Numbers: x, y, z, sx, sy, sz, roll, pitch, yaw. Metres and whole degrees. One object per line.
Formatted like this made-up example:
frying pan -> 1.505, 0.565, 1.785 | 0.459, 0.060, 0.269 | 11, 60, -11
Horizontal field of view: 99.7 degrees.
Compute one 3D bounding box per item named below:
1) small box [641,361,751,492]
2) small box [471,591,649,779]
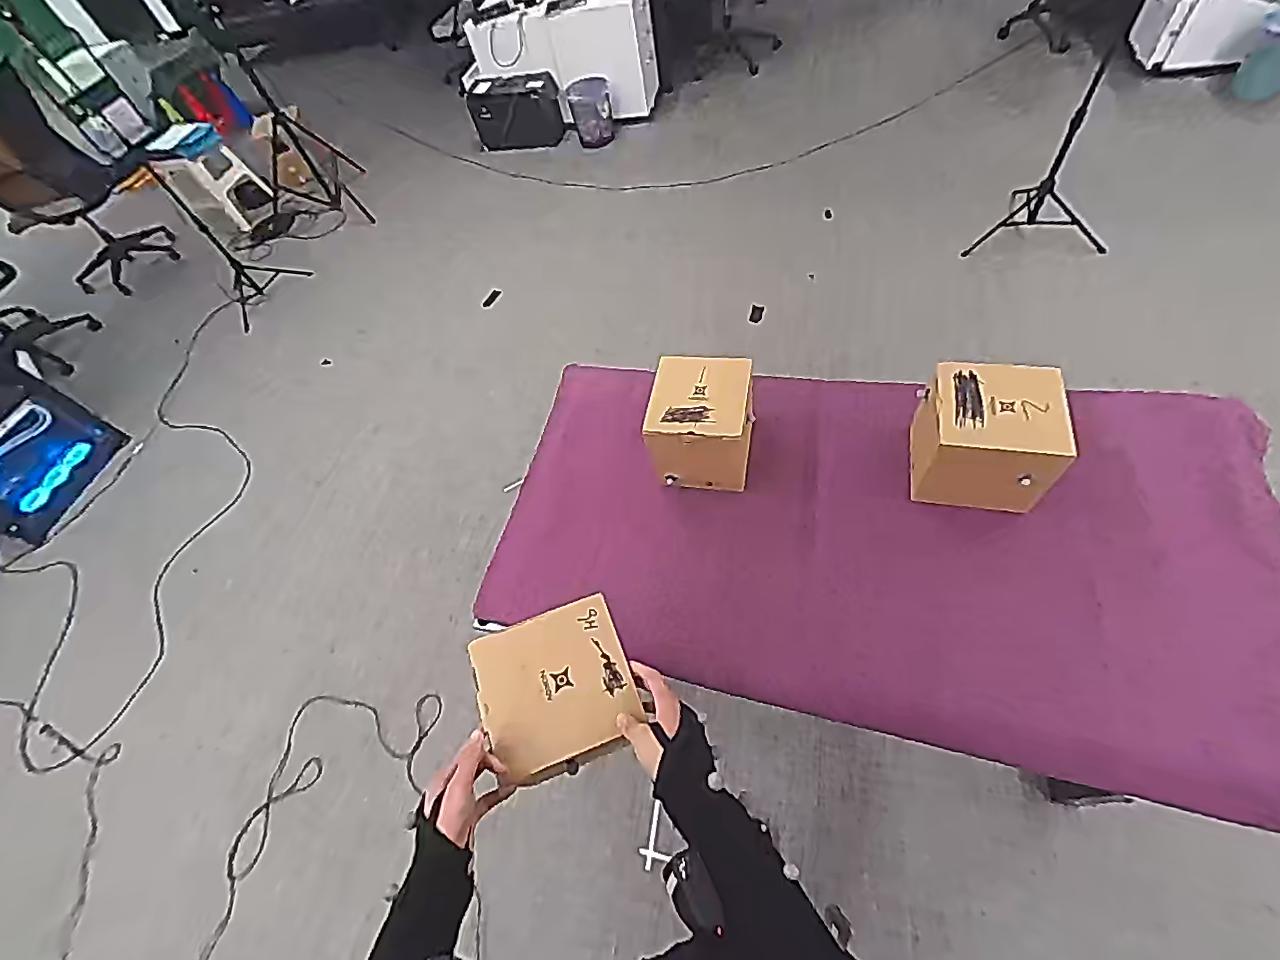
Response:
small box -> 0.111, -0.094, 0.983 | 0.168, 0.176, 0.179 | 5, 58, 15
small box -> -0.096, 0.272, 0.701 | 0.179, 0.176, 0.168 | -19, 61, -8
